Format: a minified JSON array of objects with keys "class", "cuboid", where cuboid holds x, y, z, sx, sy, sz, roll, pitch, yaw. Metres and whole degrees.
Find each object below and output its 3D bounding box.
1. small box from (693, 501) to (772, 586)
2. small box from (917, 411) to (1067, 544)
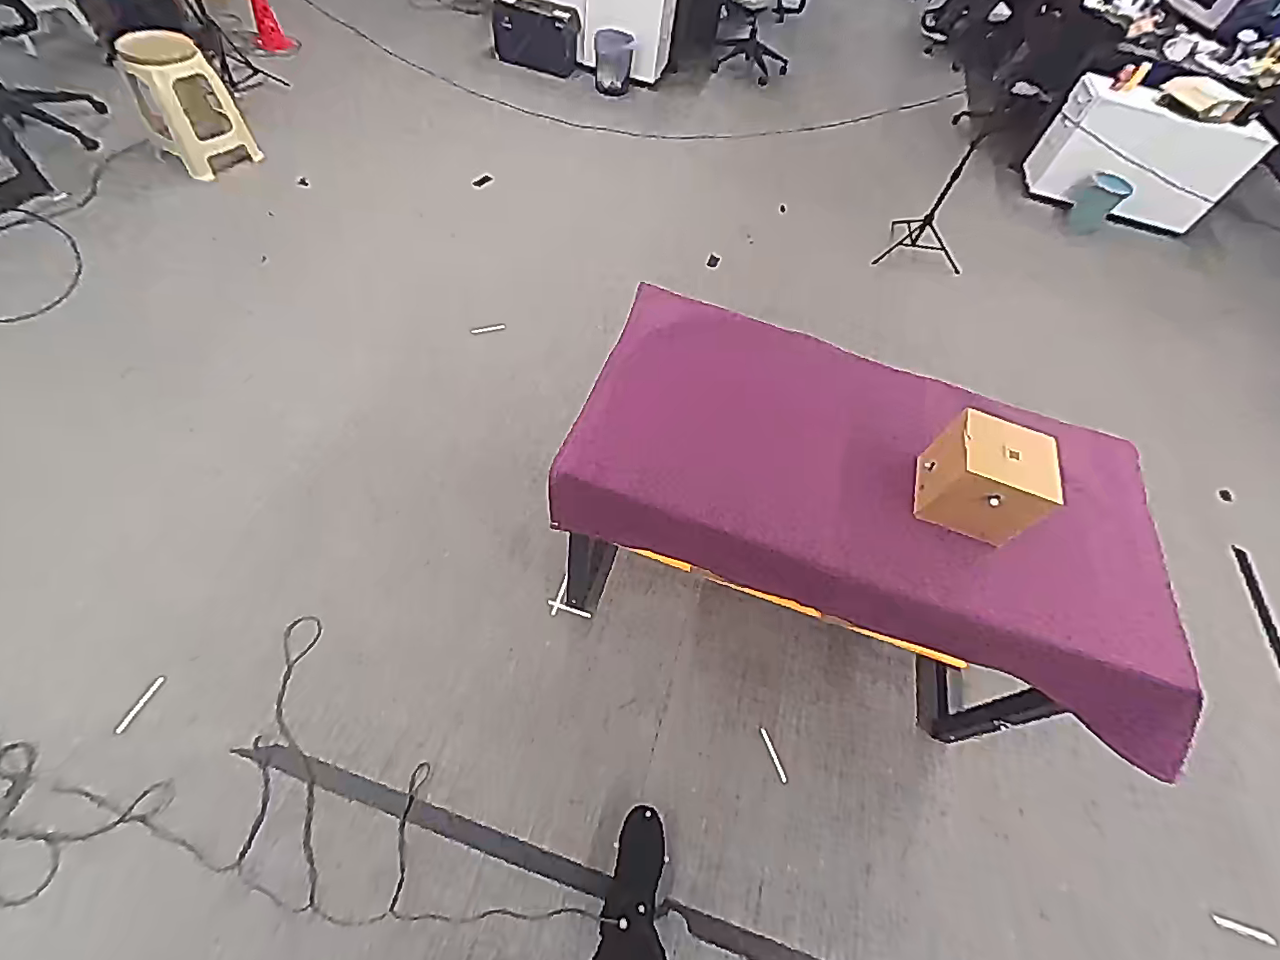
[{"class":"small box","cuboid":[0.269,0.193,1.597,0.179,0.176,0.168,18,55,1]},{"class":"small box","cuboid":[0.671,0.003,1.044,0.179,0.176,0.168,21,56,6]}]
